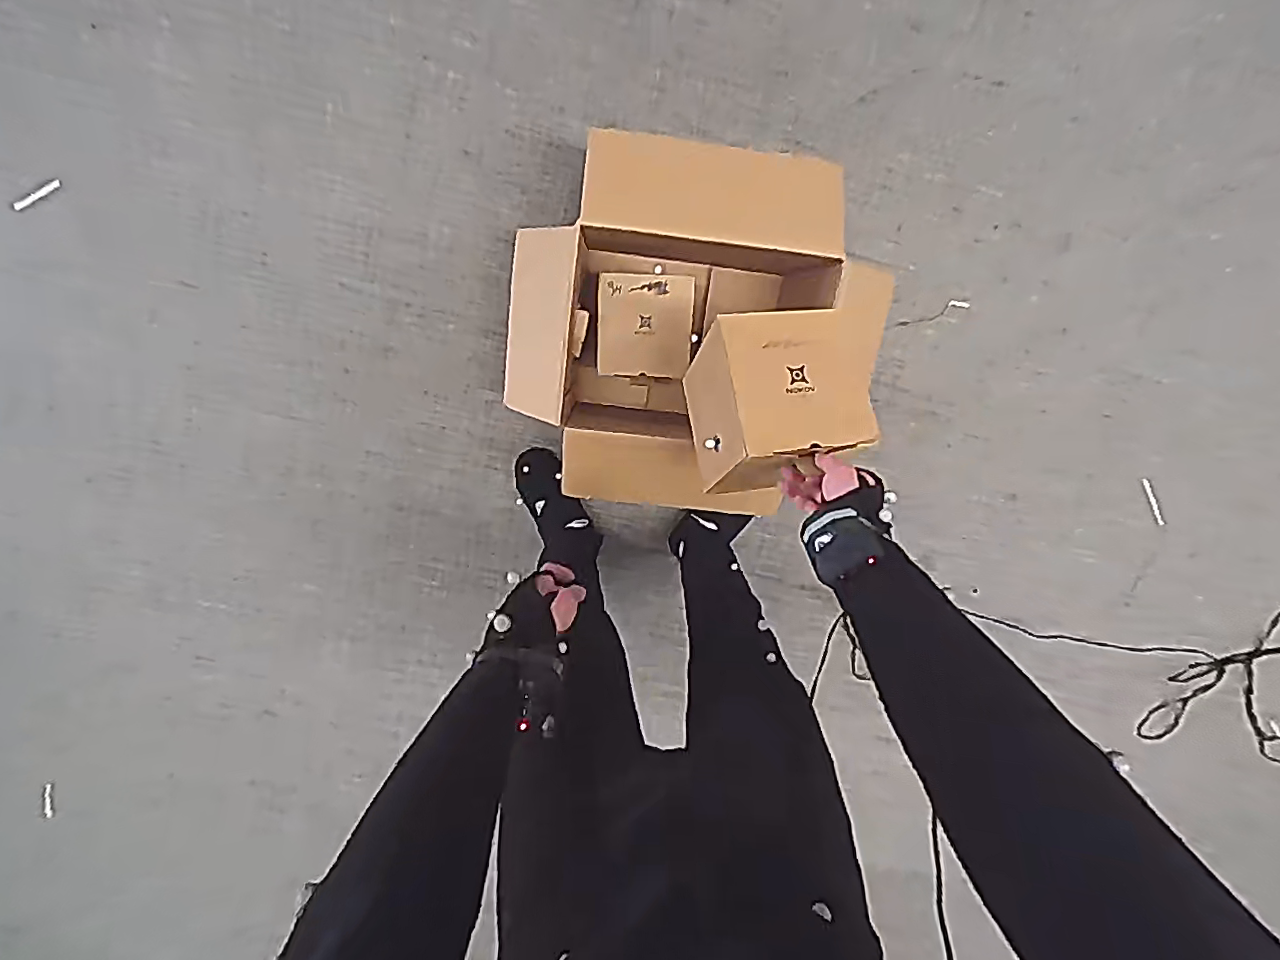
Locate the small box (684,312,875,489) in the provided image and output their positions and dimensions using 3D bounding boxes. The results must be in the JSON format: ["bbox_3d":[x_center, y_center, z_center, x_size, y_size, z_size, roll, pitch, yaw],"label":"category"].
[{"bbox_3d":[0.164,-0.093,0.696,0.168,0.176,0.179,-5,72,-12],"label":"small box"}]
